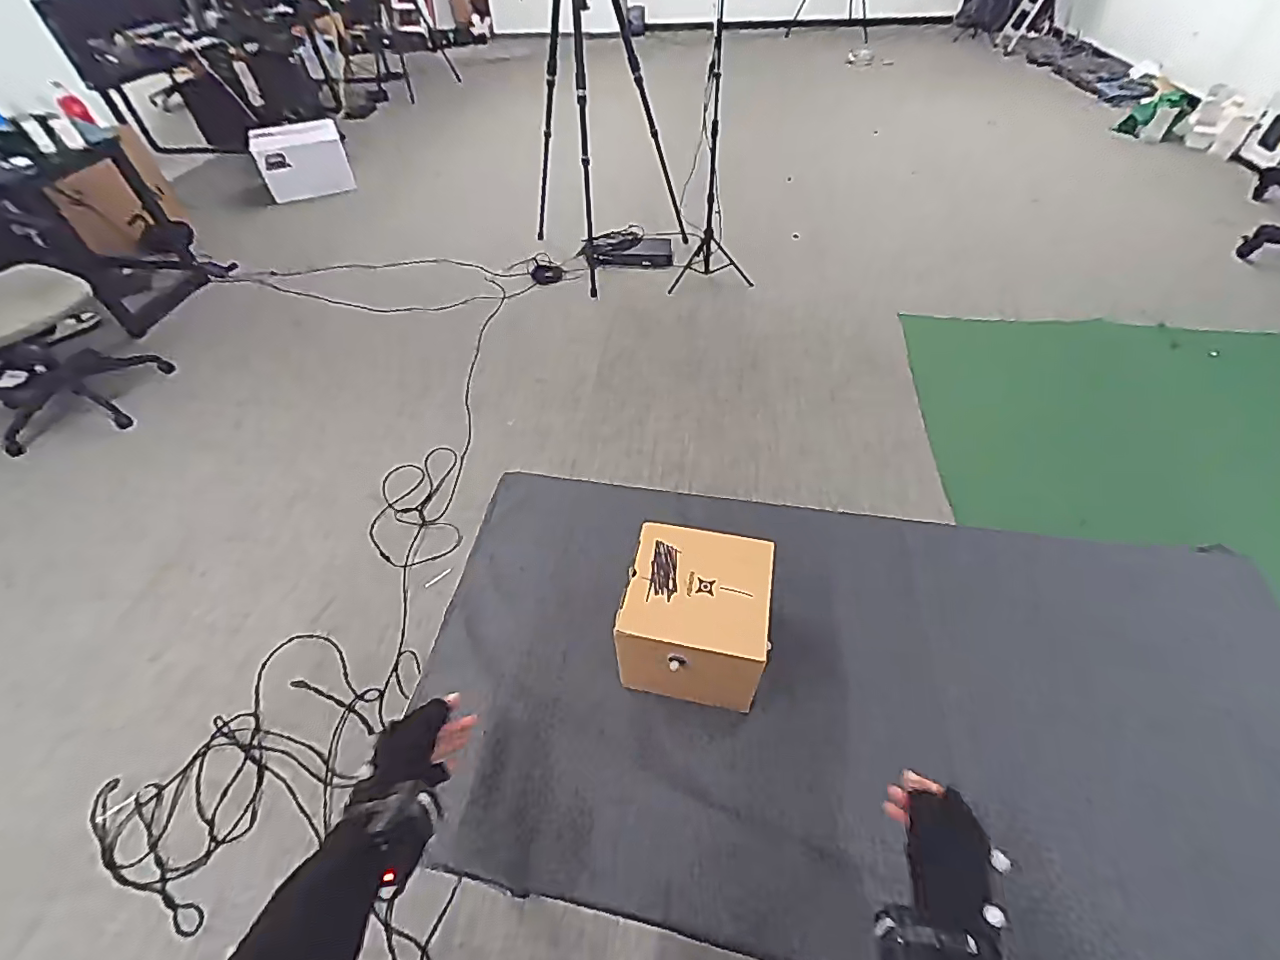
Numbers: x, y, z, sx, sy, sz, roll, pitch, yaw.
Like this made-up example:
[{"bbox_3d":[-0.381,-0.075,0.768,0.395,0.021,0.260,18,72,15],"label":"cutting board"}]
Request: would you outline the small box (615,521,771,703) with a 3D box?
[{"bbox_3d":[0.073,0.181,0.734,0.179,0.176,0.168,9,49,9],"label":"small box"}]
